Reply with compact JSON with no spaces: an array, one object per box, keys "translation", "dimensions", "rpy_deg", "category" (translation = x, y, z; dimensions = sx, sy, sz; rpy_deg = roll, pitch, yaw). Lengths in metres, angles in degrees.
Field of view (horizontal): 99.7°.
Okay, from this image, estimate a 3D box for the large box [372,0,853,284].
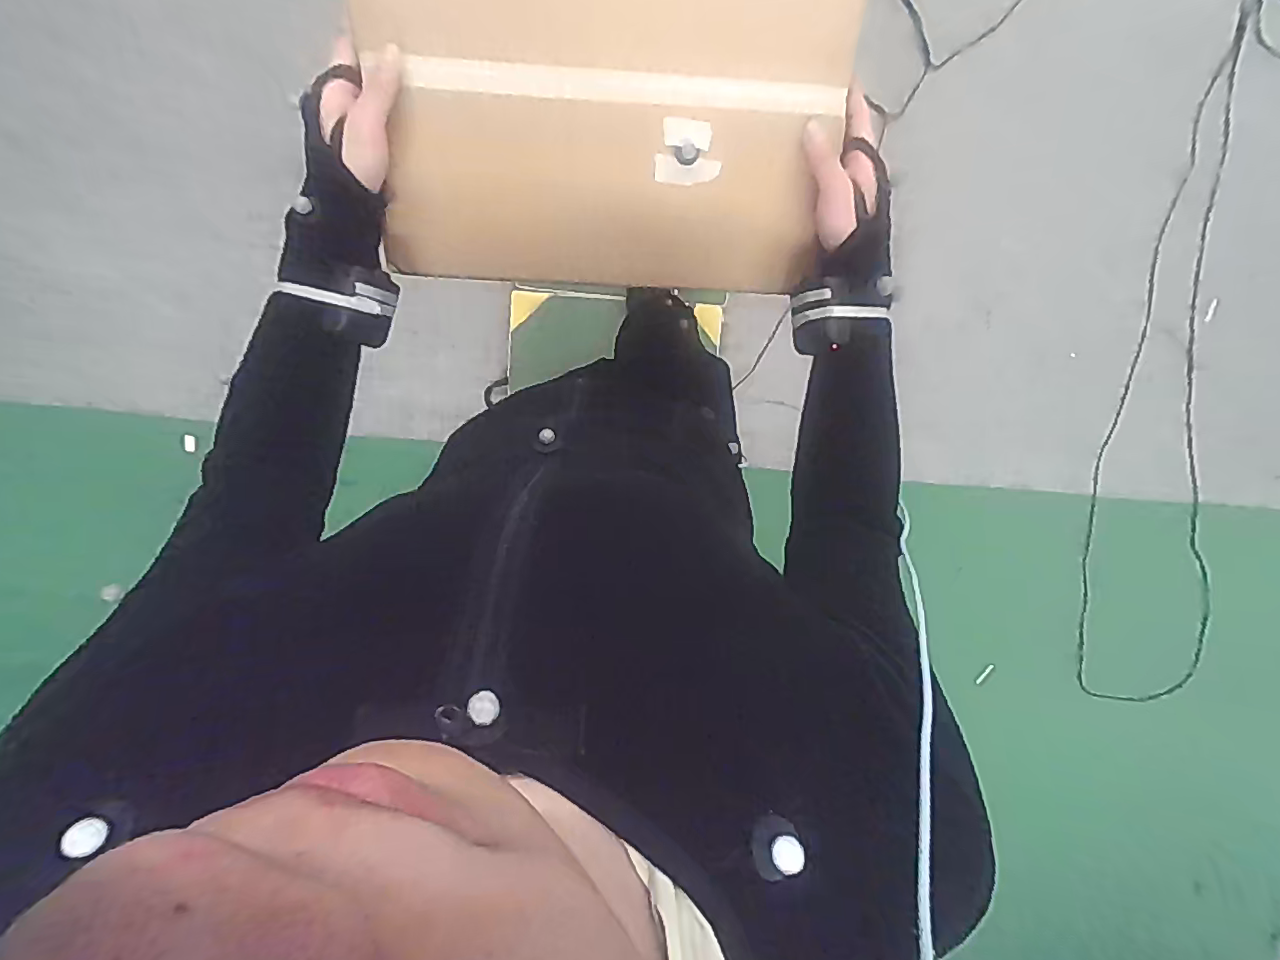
[{"translation":[-0.033,-0.393,0.604],"dimensions":[0.408,0.320,0.320],"rpy_deg":[1,113,-5],"category":"large box"}]
